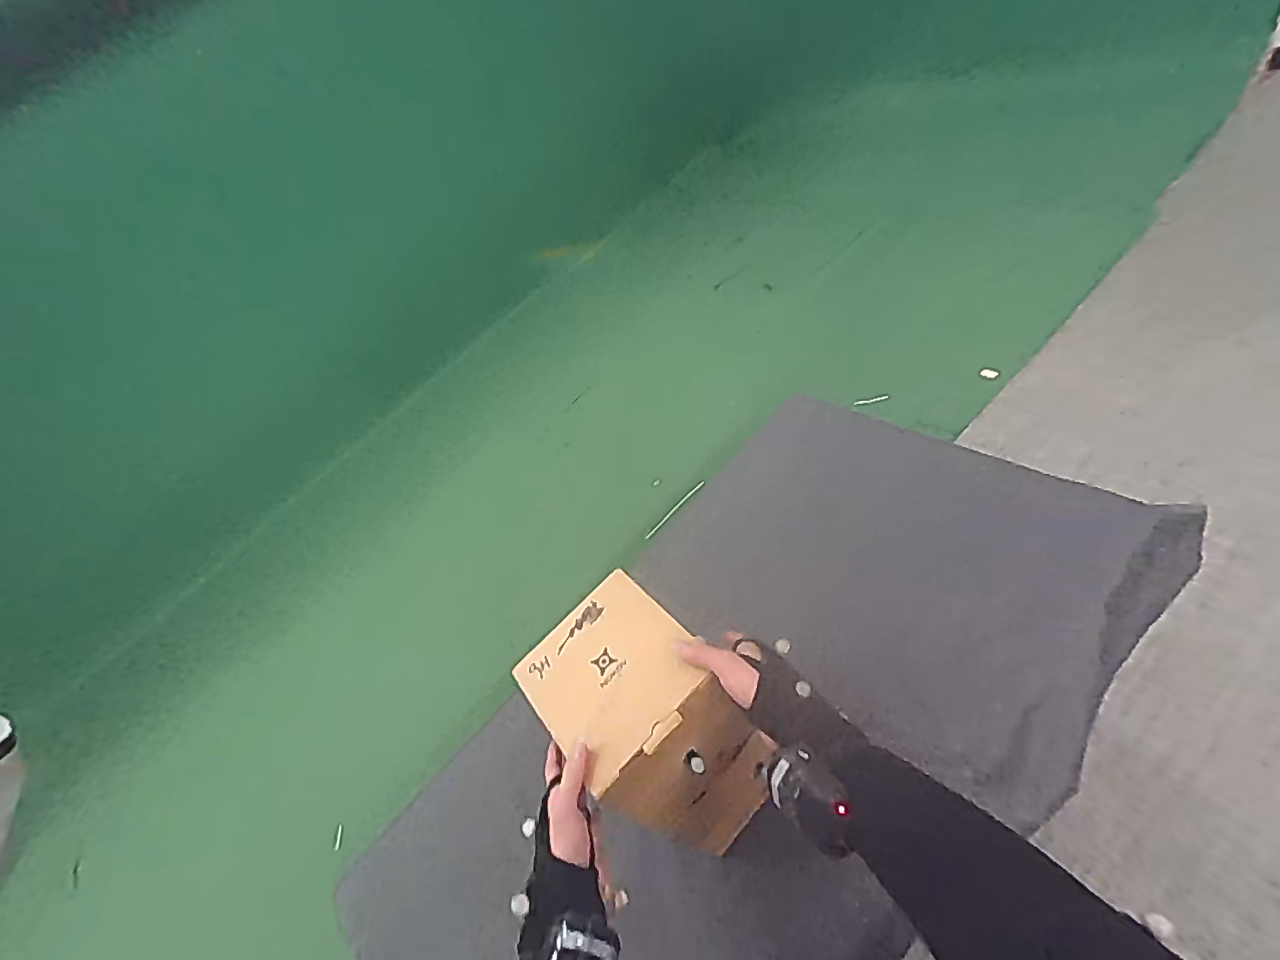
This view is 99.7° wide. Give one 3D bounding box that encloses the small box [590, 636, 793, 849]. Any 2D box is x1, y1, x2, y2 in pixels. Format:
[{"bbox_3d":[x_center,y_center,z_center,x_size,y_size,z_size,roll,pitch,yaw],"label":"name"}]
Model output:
[{"bbox_3d":[0.074,0.347,0.711,0.168,0.176,0.179,-45,42,-13],"label":"small box"}]
